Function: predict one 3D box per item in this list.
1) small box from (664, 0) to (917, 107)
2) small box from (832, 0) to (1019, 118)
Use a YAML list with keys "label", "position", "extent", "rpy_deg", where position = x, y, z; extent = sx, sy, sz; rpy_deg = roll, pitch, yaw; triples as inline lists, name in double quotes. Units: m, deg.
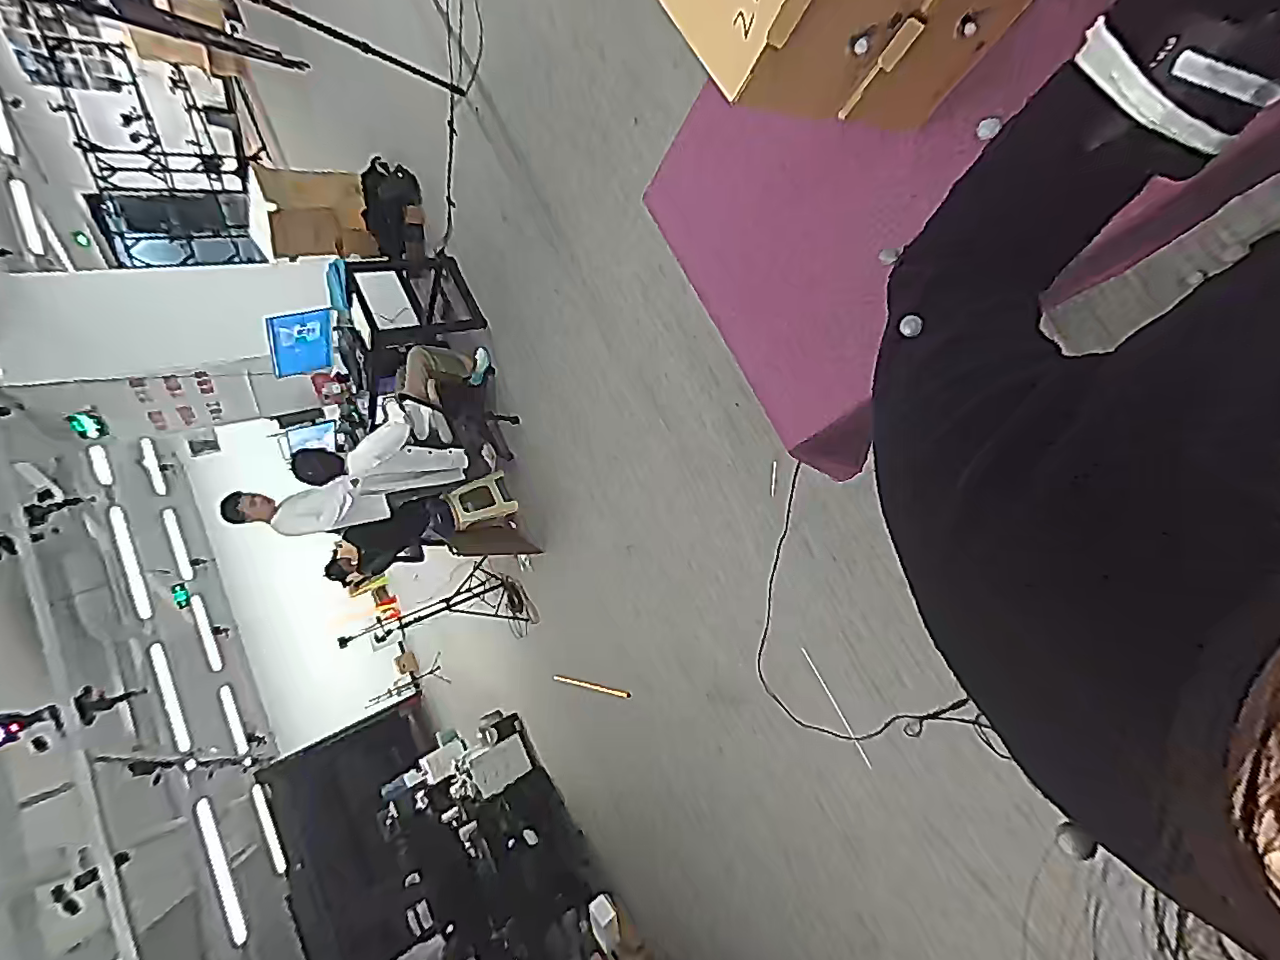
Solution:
- label: "small box"
  position: [0.147, -0.500, 0.525]
  extent: [0.179, 0.176, 0.168]
  rpy_deg: [62, 145, 12]
- label: "small box"
  position: [0.284, -0.543, 0.607]
  extent: [0.179, 0.176, 0.168]
  rpy_deg: [63, 145, 11]
